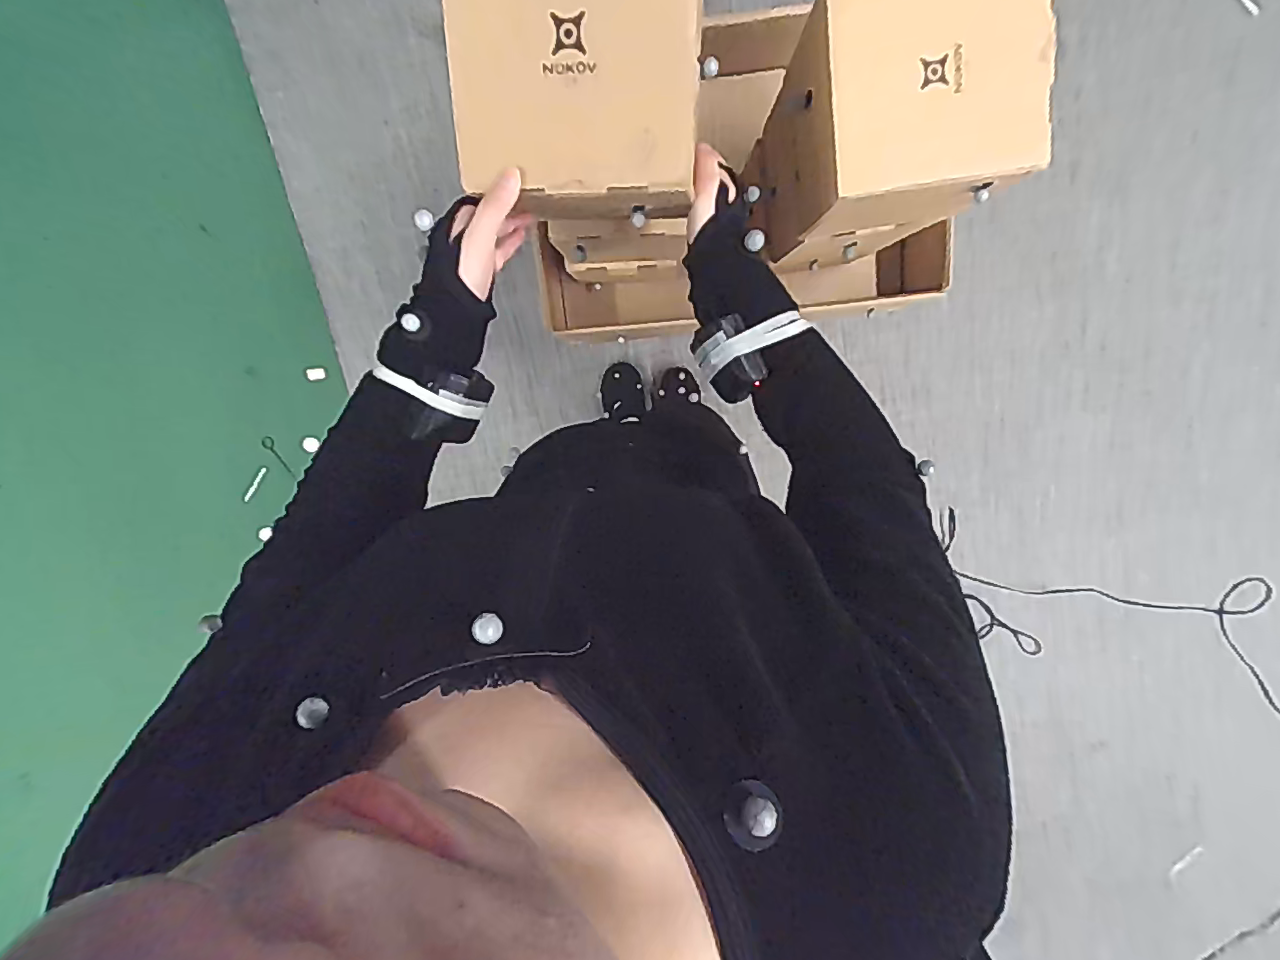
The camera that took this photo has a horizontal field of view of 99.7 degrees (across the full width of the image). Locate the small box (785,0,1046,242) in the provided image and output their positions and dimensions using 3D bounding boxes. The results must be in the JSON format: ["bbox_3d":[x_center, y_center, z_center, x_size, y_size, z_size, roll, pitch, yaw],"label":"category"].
[{"bbox_3d":[0.243,-0.340,0.518,0.179,0.176,0.168,-7,103,4],"label":"small box"}]

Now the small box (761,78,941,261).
[{"bbox_3d":[0.253,-0.381,0.676,0.168,0.176,0.179,-8,104,3],"label":"small box"}]

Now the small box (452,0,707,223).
[{"bbox_3d":[-0.034,-0.307,0.430,0.168,0.176,0.179,2,109,5],"label":"small box"}]
